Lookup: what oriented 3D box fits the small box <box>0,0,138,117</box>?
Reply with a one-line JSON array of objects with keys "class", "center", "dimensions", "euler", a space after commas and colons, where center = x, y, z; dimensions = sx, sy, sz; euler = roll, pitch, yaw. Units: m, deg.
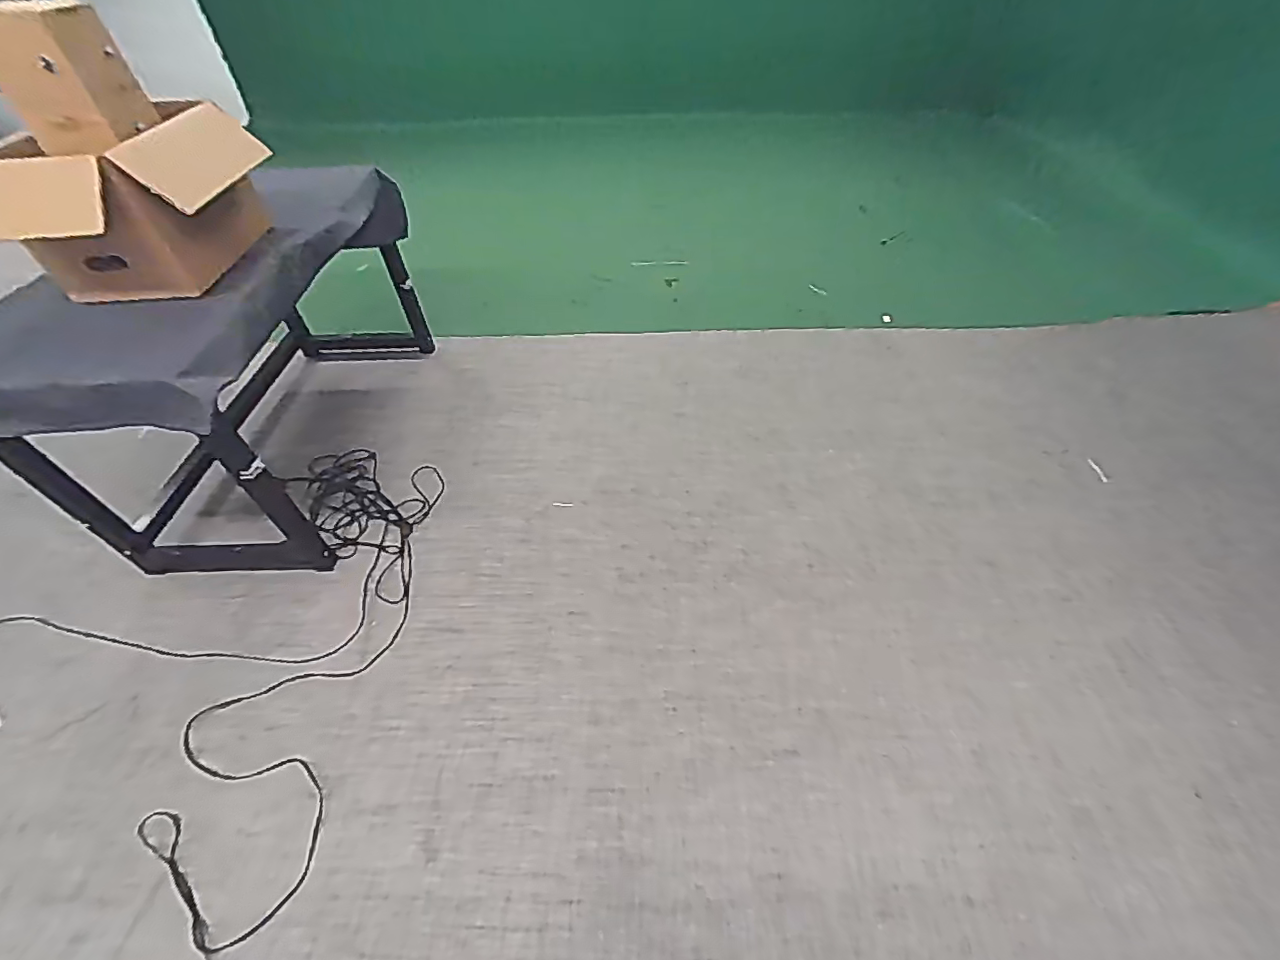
[{"class": "small box", "center": [-1.205, -0.864, 1.107], "dimensions": [0.179, 0.176, 0.168], "euler": [-5, 47, -2]}]
